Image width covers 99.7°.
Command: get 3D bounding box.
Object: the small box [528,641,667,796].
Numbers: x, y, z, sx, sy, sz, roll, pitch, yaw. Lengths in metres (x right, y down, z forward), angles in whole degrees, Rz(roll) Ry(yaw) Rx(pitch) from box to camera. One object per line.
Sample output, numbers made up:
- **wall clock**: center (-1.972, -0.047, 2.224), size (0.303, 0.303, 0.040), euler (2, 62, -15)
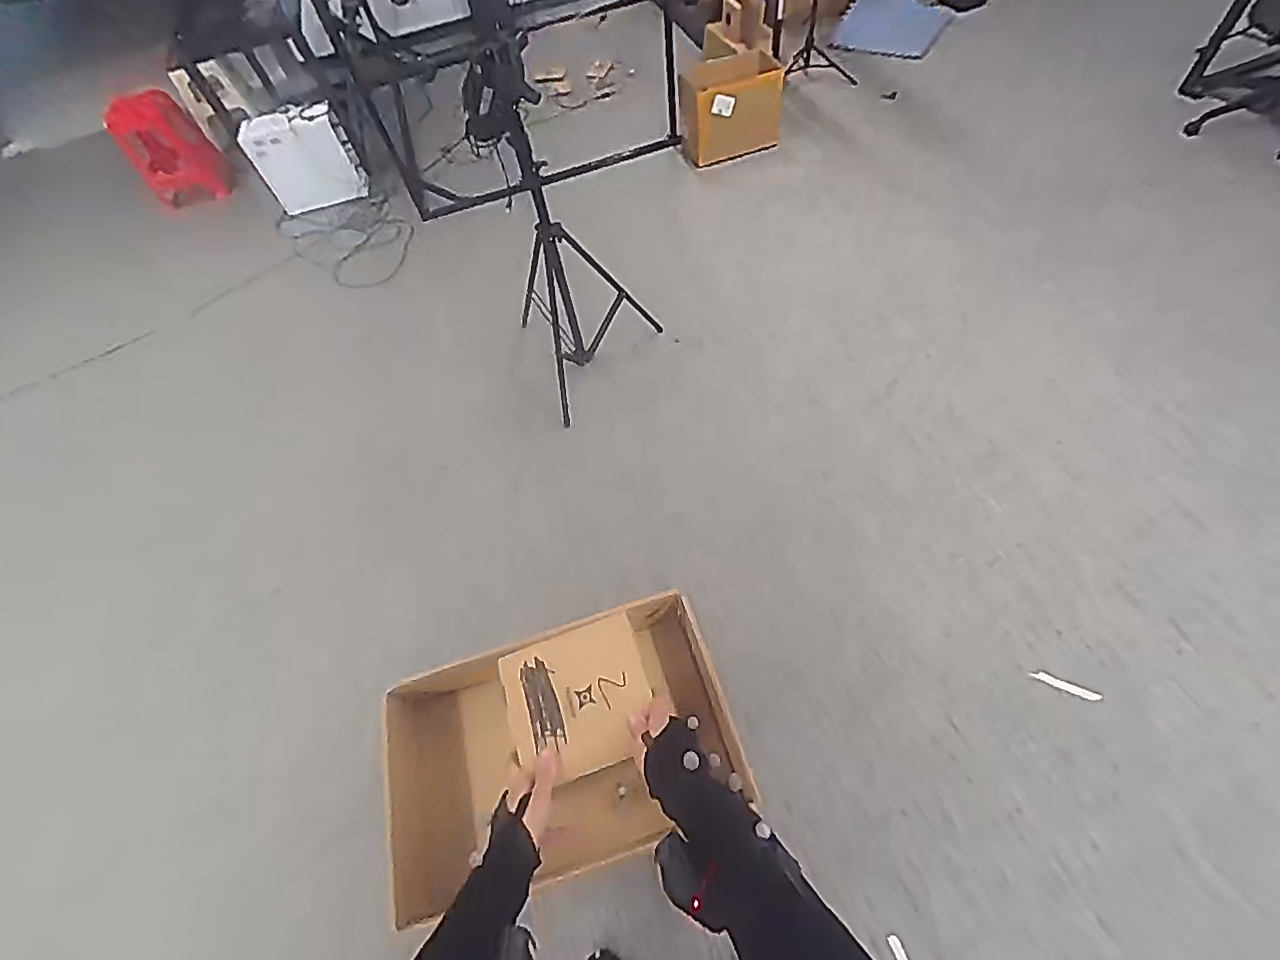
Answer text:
- **small box**: center (-0.063, 0.385, 0.864), size (0.168, 0.176, 0.179), euler (-20, 59, -3)
